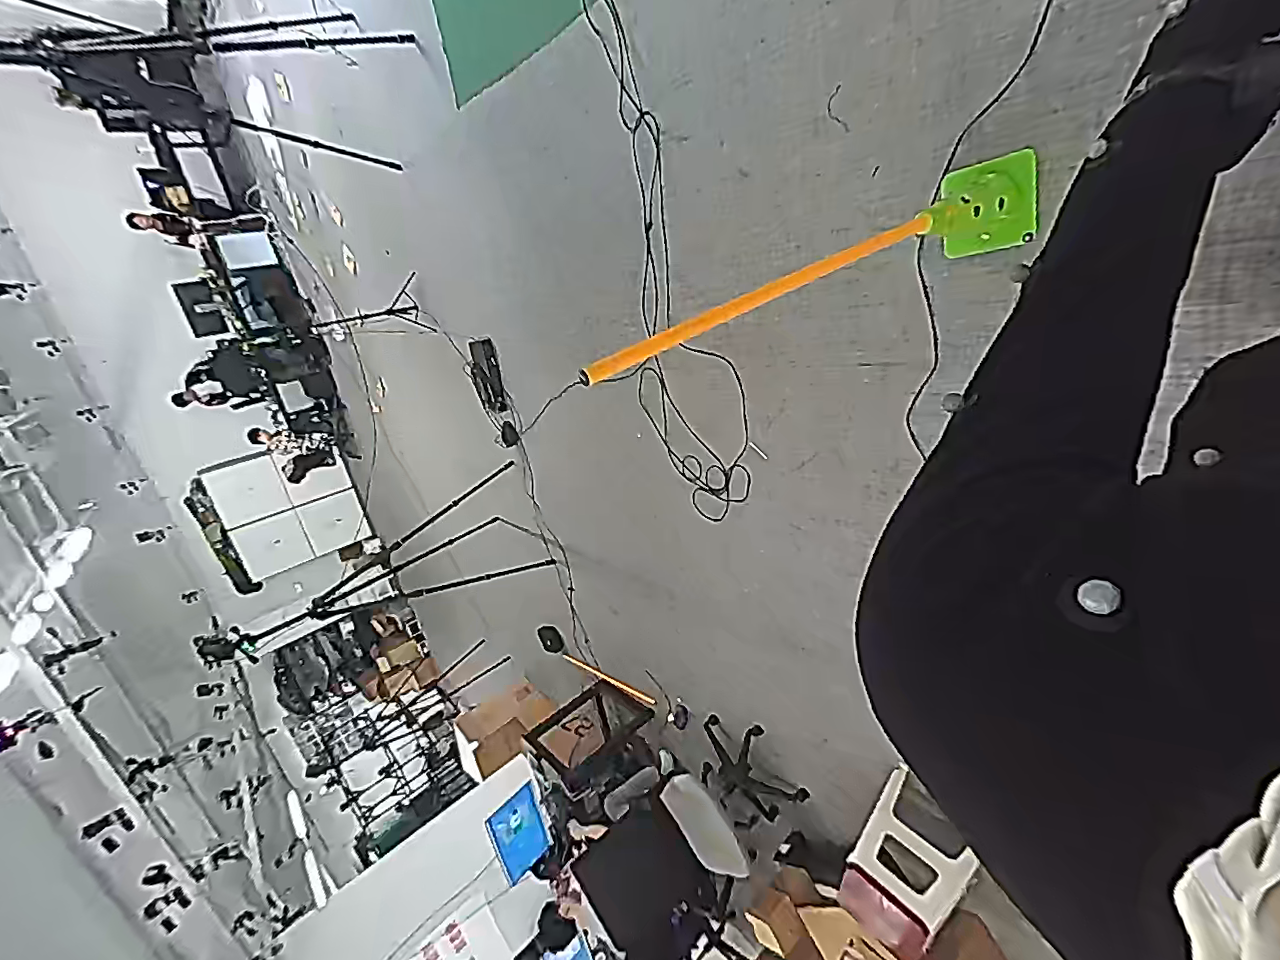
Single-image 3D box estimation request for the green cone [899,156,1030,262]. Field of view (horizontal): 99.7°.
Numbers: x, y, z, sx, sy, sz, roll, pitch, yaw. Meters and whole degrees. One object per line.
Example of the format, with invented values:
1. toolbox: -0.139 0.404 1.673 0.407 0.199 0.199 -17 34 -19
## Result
1. green cone: 0.689 -0.583 1.204 0.202 0.368 0.200 8 117 52
